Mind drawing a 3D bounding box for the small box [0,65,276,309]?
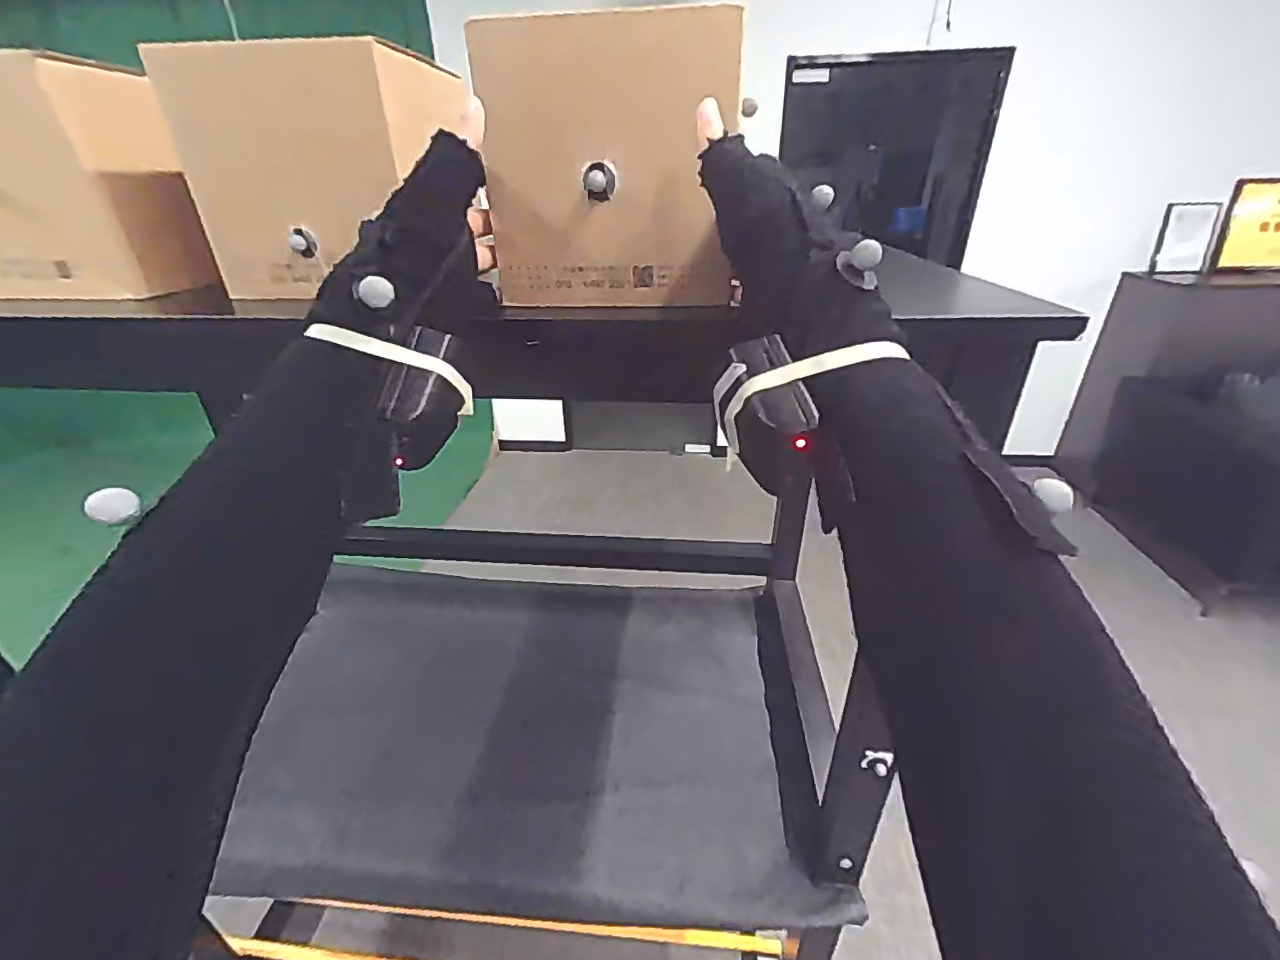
[{"bbox_3d":[-0.484,-0.257,0.498,0.168,0.176,0.179,2,28,7],"label":"small box"}]

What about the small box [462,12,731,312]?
[{"bbox_3d":[-0.015,-0.232,0.425,0.168,0.176,0.179,2,28,6],"label":"small box"}]
